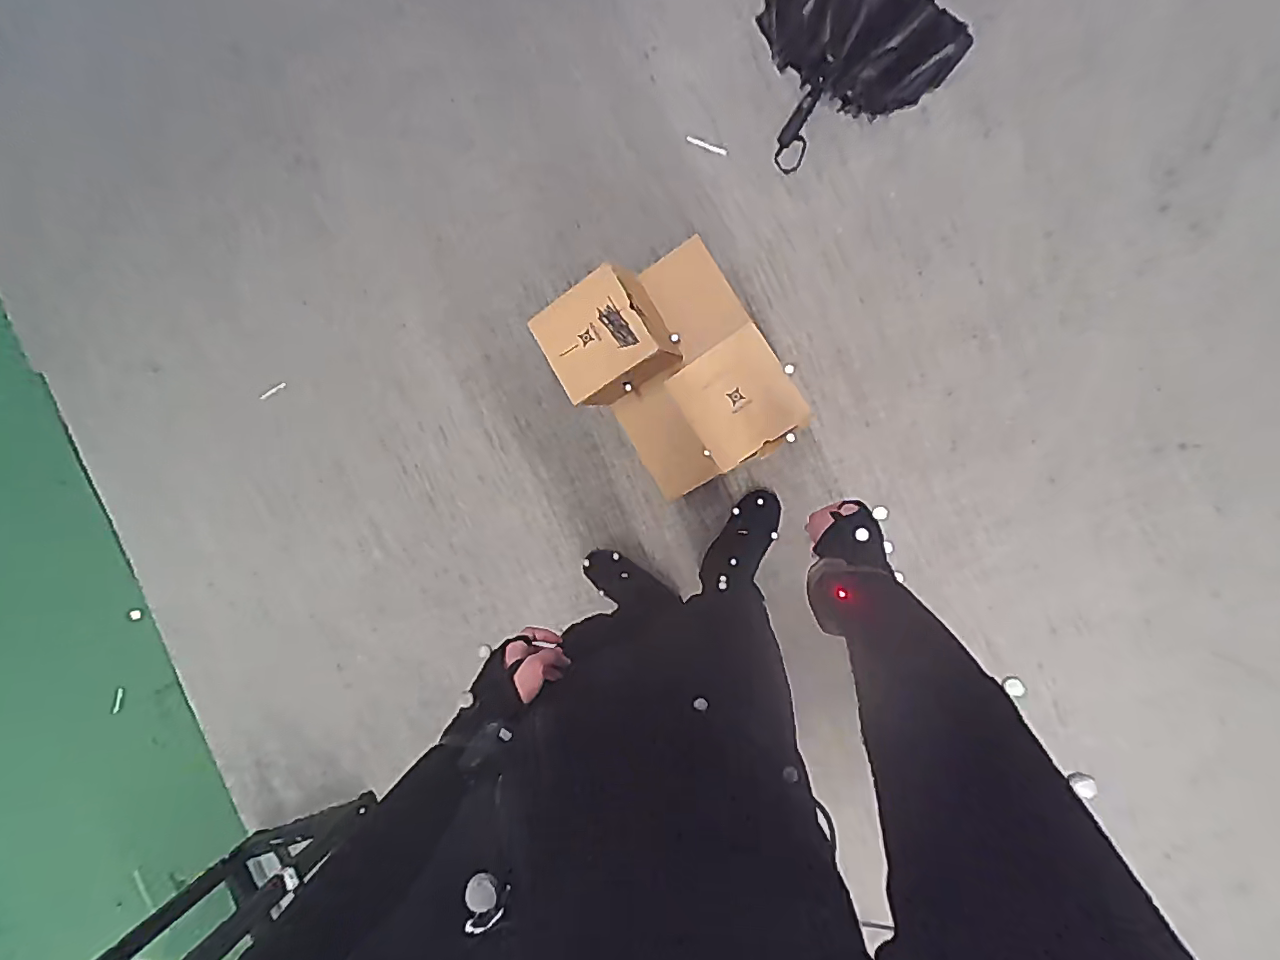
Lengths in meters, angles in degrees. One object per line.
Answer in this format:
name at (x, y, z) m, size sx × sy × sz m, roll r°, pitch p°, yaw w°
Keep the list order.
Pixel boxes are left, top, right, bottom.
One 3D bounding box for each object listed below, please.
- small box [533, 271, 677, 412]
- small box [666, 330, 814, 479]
small box at (-0.050, -0.235, 0.957) m, size 0.179 × 0.176 × 0.168 m, roll -30°, pitch 88°, yaw 19°
small box at (0.171, -0.123, 0.911) m, size 0.168 × 0.176 × 0.179 m, roll -34°, pitch 85°, yaw 13°
